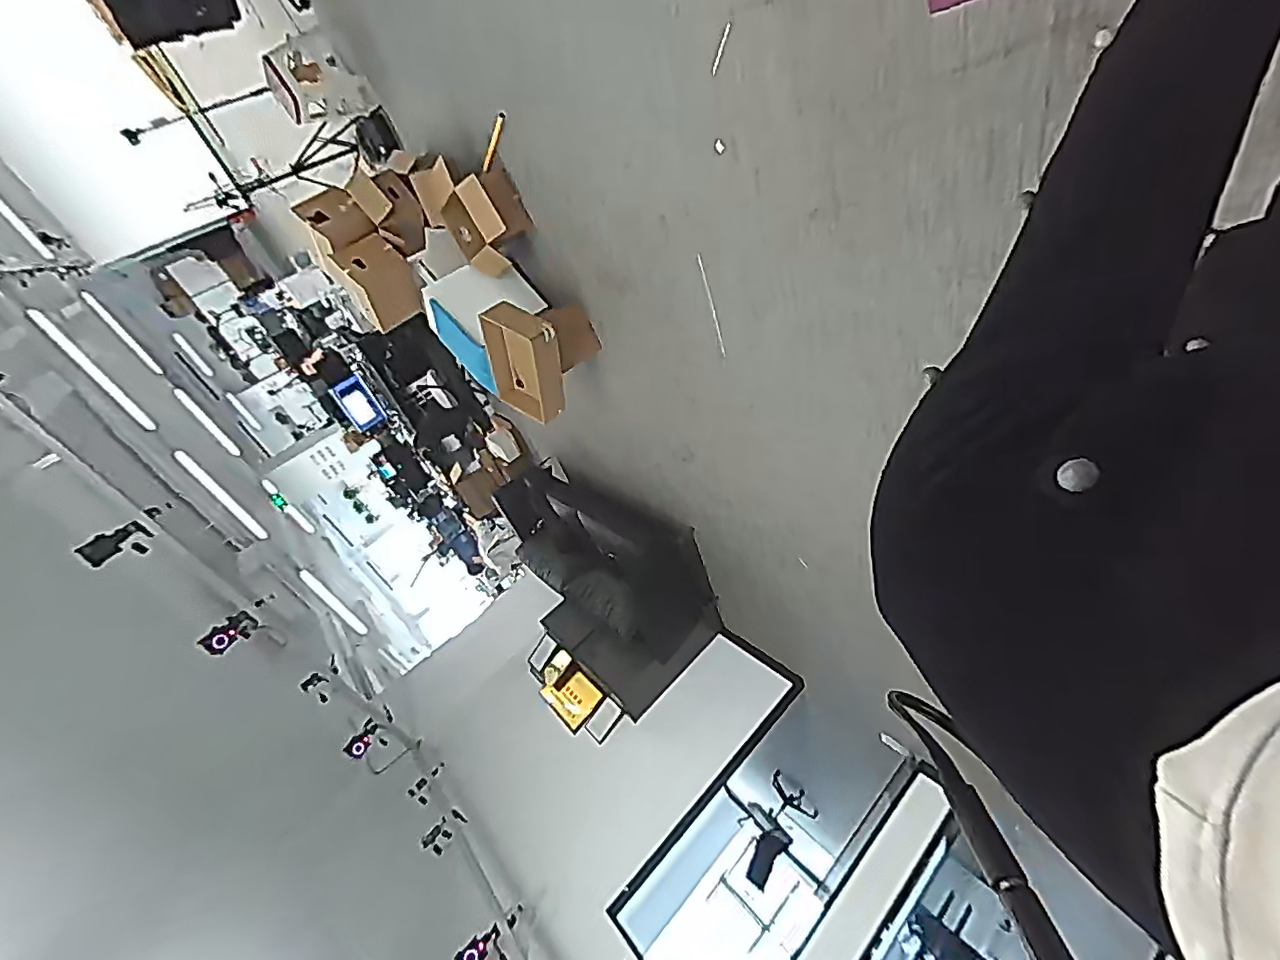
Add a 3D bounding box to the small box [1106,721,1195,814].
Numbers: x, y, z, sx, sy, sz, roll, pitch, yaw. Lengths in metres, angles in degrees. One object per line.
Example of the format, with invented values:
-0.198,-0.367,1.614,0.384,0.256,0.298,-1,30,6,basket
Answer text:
1.652,0.922,1.750,0.168,0.176,0.179,24,147,51,small box
